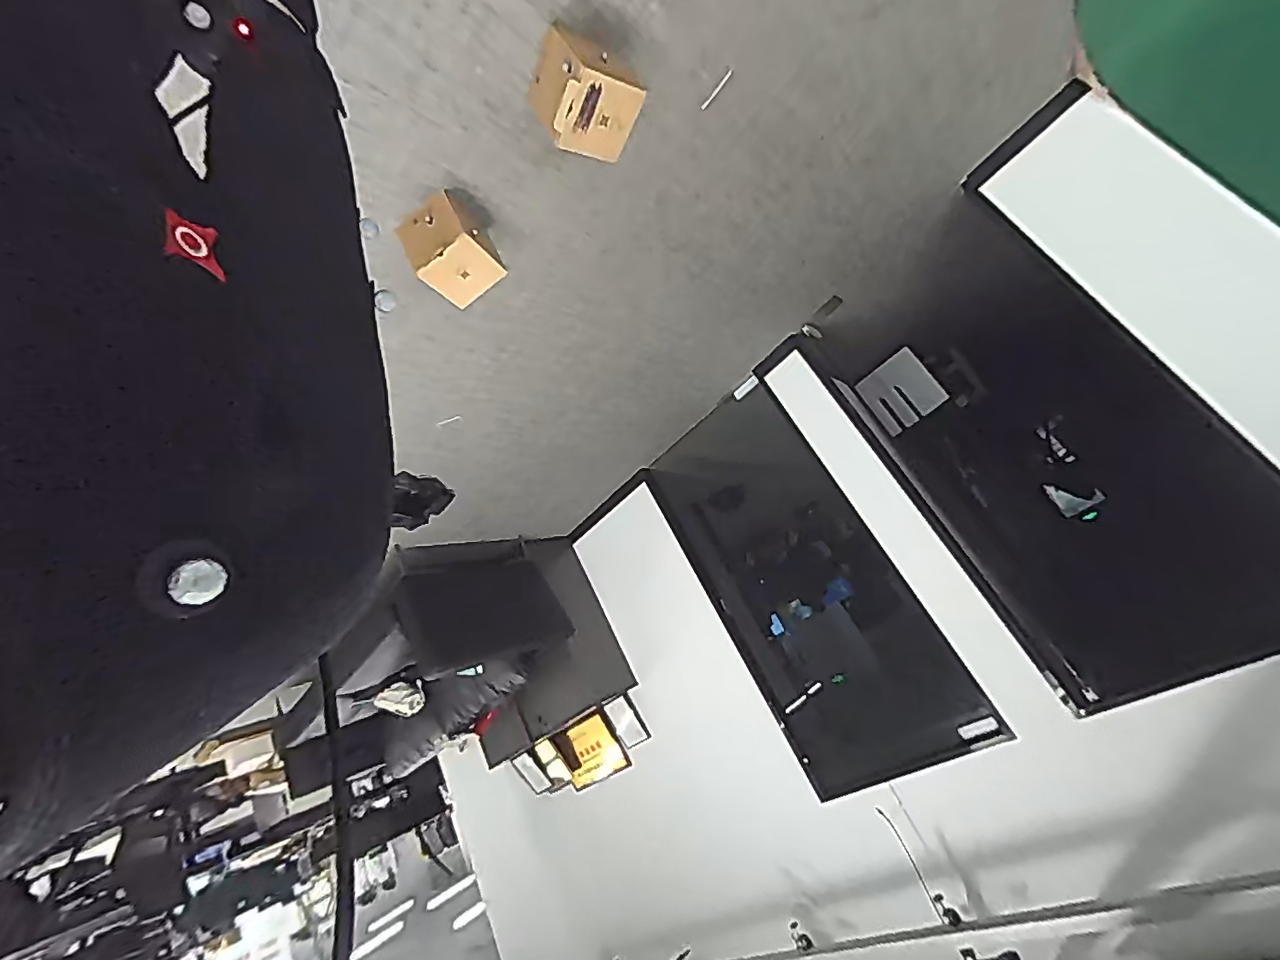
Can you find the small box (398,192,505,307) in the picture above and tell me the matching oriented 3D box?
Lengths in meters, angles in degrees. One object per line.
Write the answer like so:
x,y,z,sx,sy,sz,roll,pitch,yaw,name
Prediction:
-0.484,-0.591,1.391,0.168,0.176,0.179,-33,158,13,small box
